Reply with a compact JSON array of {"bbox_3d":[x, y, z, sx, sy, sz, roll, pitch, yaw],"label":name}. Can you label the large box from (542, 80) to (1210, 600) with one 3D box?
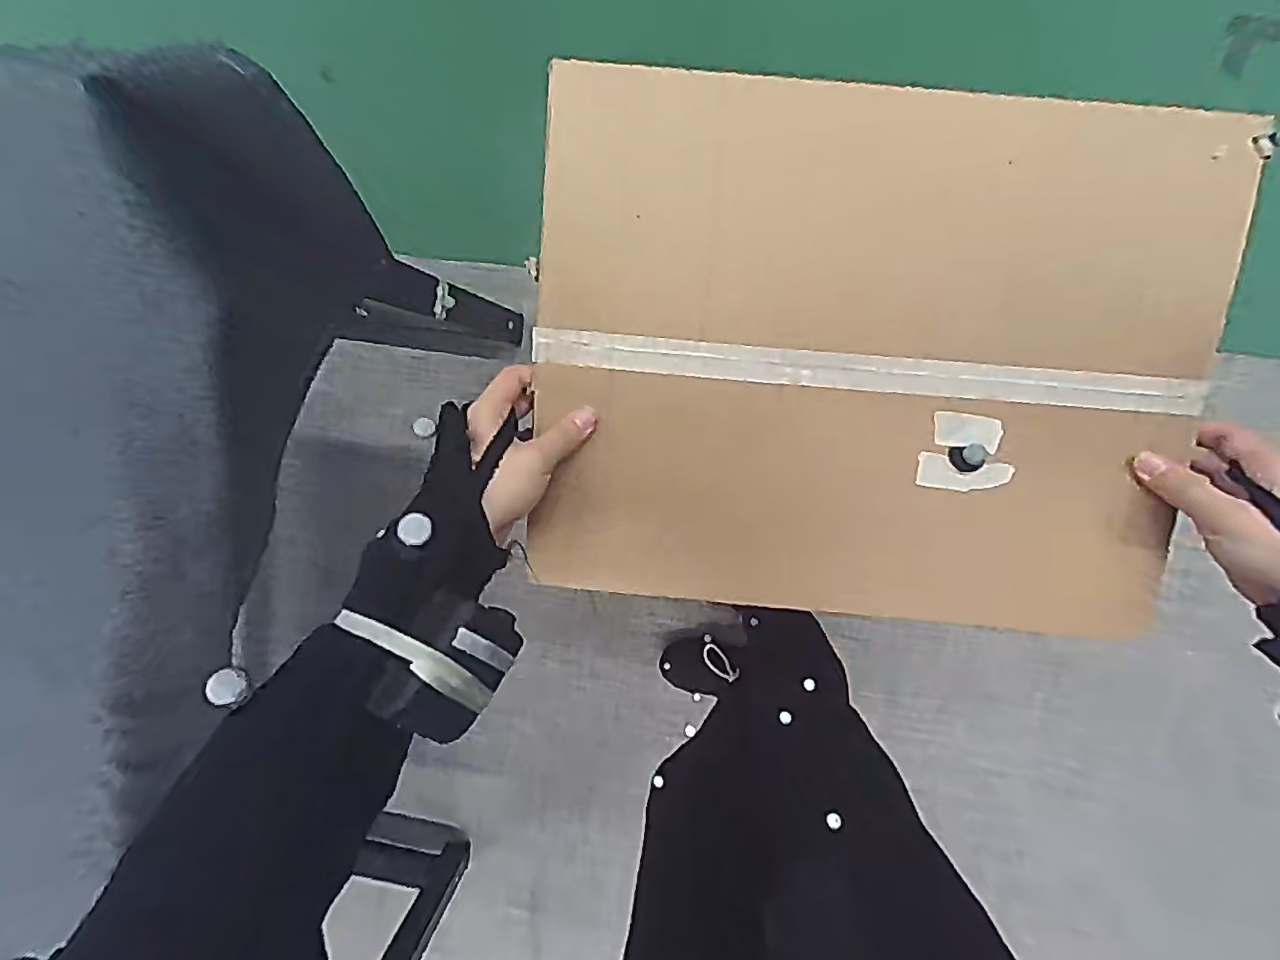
[{"bbox_3d":[0.139,-0.102,0.496,0.408,0.320,0.320,4,100,0],"label":"large box"}]
